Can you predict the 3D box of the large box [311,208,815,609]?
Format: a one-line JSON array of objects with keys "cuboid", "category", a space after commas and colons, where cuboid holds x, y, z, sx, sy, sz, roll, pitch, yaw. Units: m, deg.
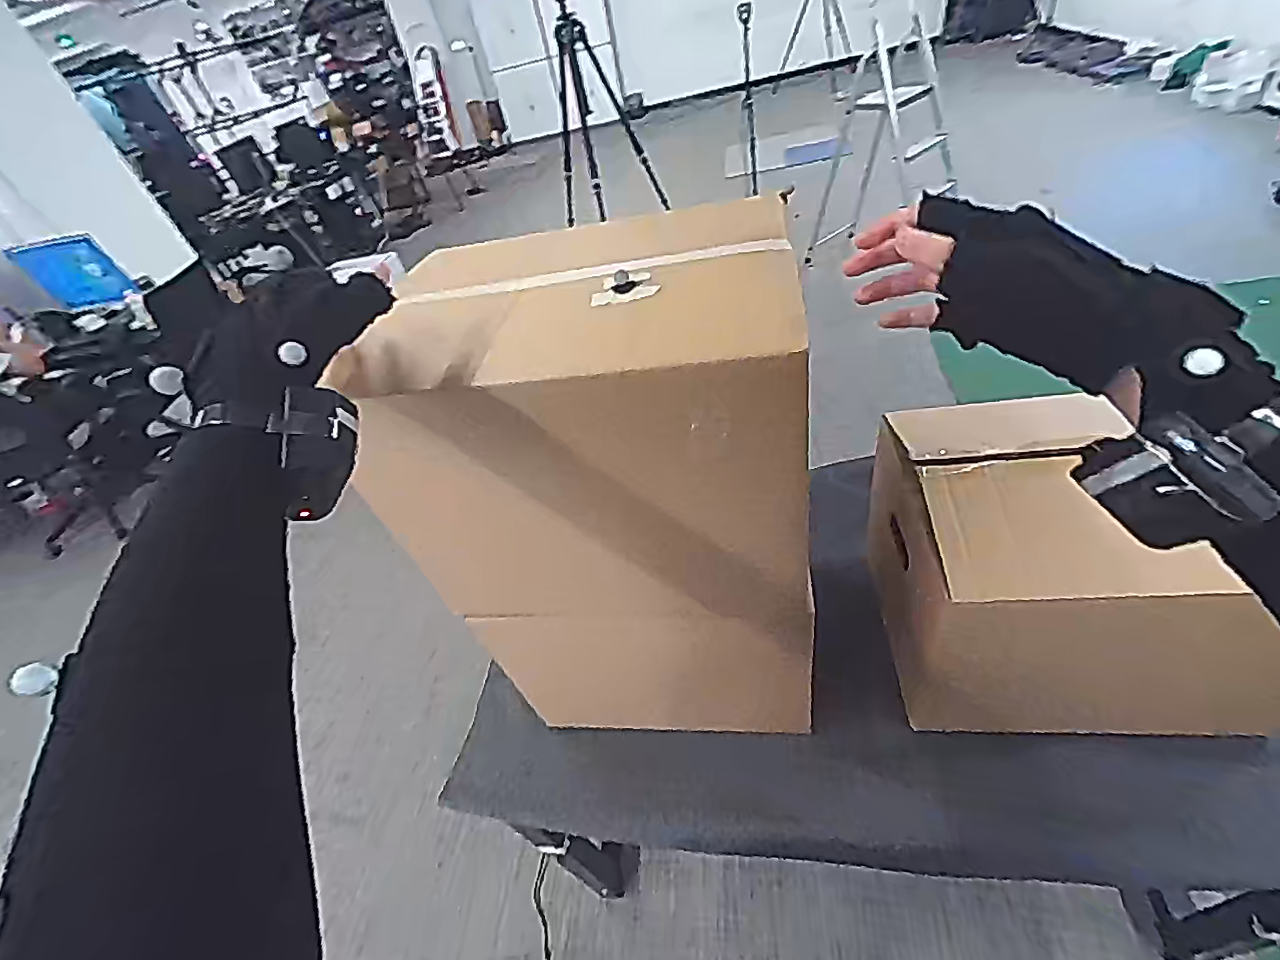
[{"cuboid": [-0.035, -0.067, 0.605, 0.408, 0.320, 0.320, -2, 44, 12], "category": "large box"}]
